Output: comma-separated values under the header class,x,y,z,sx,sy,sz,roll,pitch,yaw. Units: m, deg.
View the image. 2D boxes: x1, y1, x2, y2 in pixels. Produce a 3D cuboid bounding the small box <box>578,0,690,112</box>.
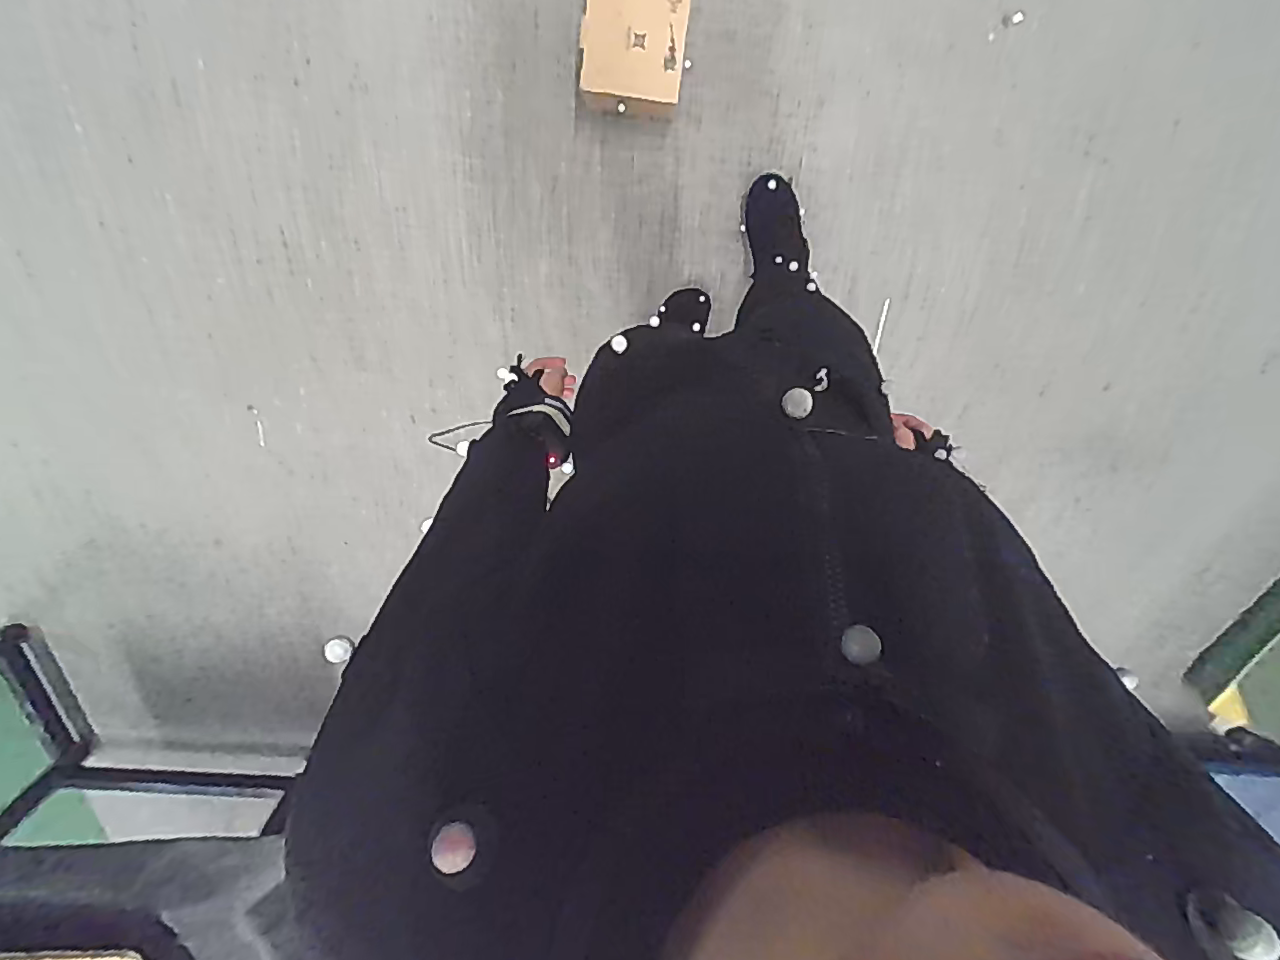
class,x,y,z,sx,sy,sz,roll,pitch,yaw
small box,-0.010,-0.784,0.976,0.179,0.176,0.168,7,115,-2
